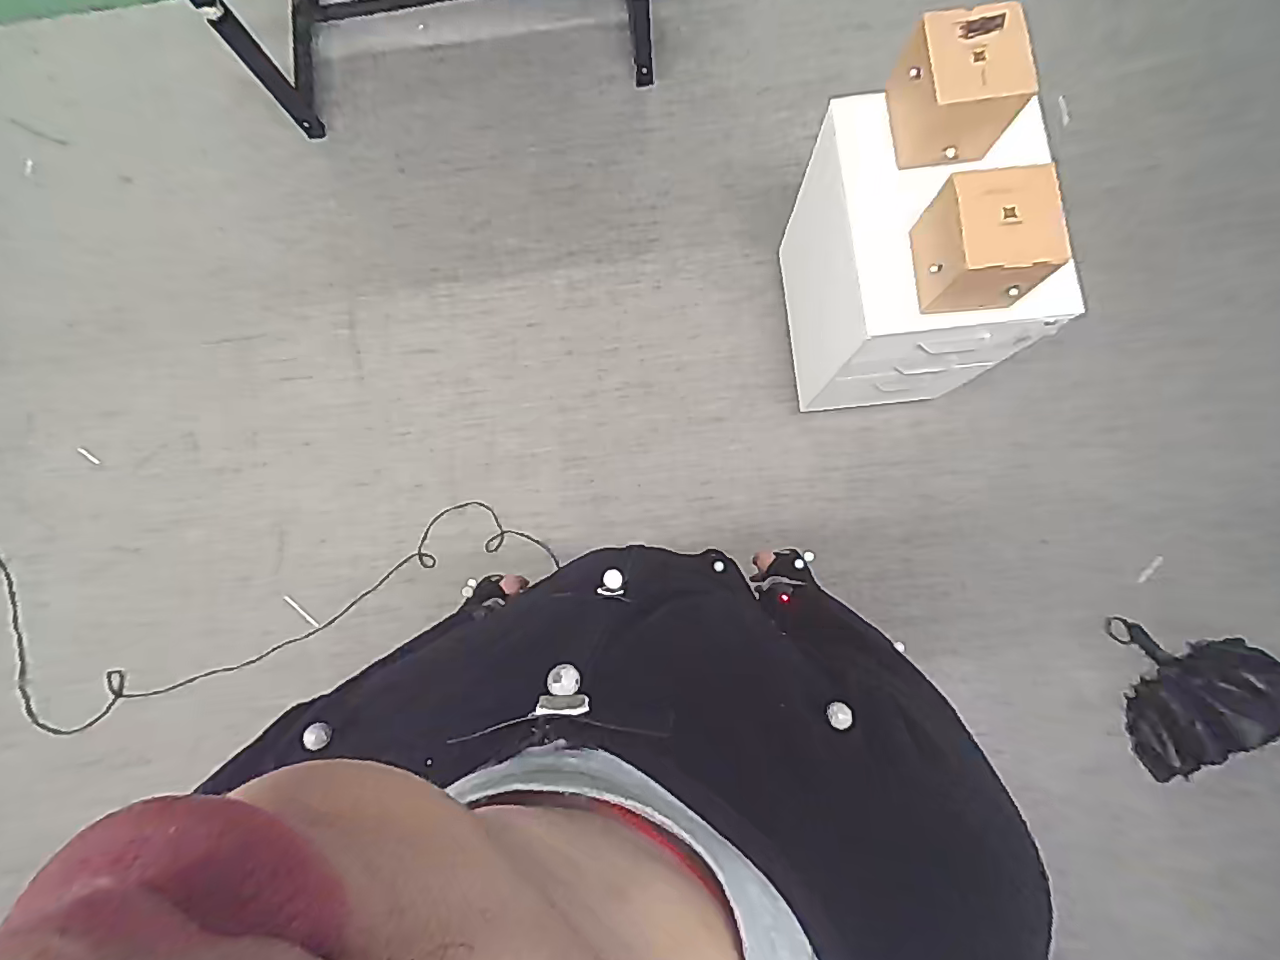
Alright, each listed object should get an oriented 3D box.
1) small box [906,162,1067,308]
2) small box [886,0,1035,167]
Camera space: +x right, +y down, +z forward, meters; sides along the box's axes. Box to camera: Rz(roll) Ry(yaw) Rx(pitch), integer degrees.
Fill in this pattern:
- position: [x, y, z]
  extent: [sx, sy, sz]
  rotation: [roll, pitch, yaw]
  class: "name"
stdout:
- position: [0.594, -0.417, 0.951]
  extent: [0.168, 0.176, 0.179]
  rotation: [-4, 81, 1]
  class: "small box"
- position: [0.569, -0.713, 0.987]
  extent: [0.168, 0.176, 0.179]
  rotation: [-6, 85, 2]
  class: "small box"
